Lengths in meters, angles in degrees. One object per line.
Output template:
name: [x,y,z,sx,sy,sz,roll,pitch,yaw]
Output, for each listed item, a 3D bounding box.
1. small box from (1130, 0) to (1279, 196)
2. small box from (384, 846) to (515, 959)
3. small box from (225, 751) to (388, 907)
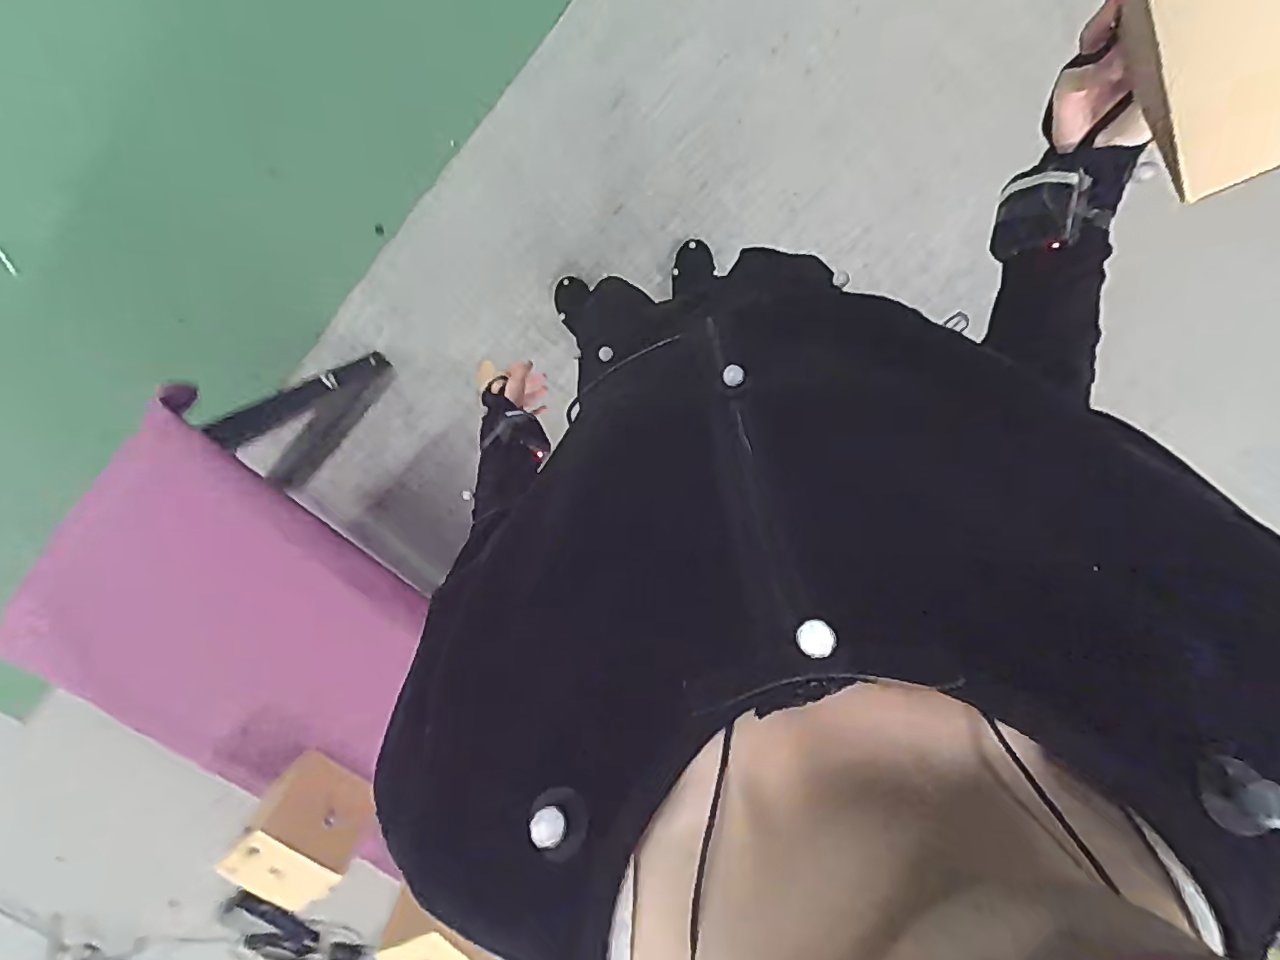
small box: [0.352,-0.288,0.249,0.179,0.168,0.176,-16,138,43]
small box: [-0.393,0.929,1.153,0.168,0.176,0.179,-29,109,13]
small box: [-0.627,0.664,1.041,0.168,0.176,0.179,-42,108,17]
